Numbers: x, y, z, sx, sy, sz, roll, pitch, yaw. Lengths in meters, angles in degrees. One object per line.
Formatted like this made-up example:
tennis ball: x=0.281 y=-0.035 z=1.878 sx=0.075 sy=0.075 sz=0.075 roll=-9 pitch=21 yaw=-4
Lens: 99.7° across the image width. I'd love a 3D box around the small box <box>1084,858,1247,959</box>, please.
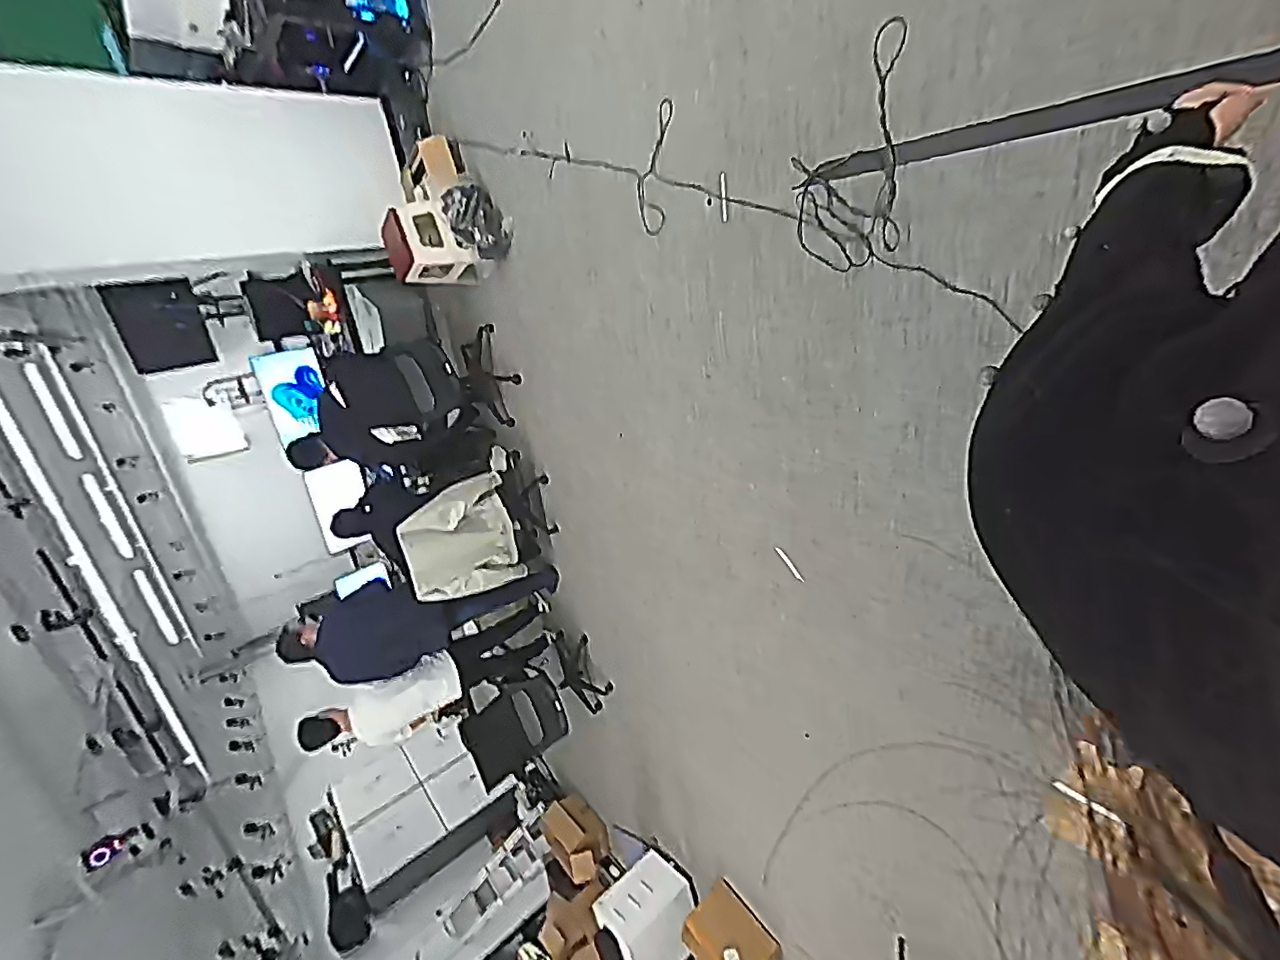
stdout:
small box: x=0.915 y=0.822 z=0.947 sx=0.168 sy=0.176 sz=0.179 roll=23 pitch=126 yaw=45
